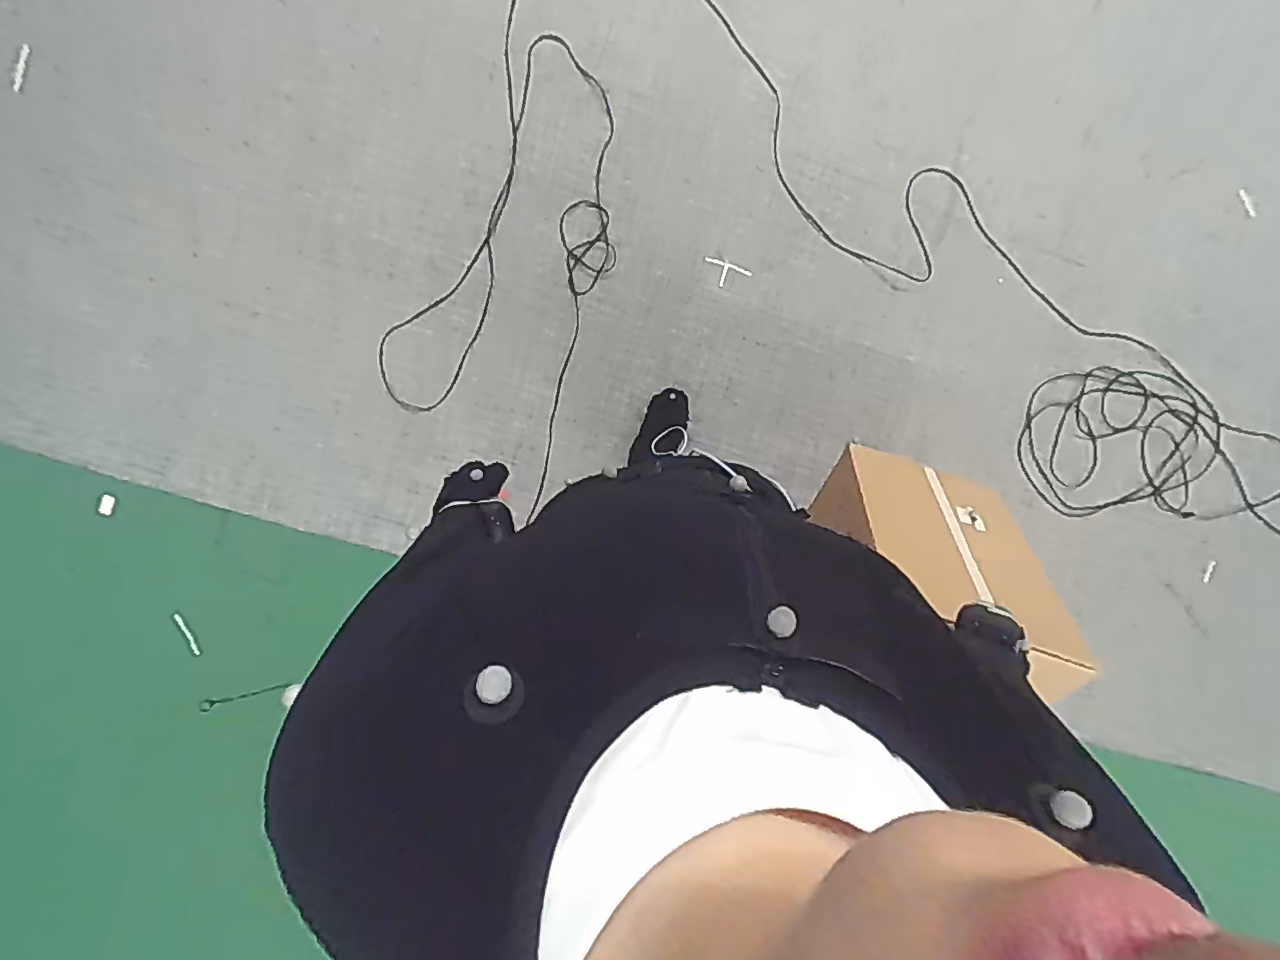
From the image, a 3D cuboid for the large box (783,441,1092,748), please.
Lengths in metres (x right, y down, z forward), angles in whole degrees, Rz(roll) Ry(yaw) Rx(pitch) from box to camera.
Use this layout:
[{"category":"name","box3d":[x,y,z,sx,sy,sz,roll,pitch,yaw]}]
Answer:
[{"category":"large box","box3d":[0.475,0.196,0.988,0.320,0.408,0.320,19,127,-2]}]
